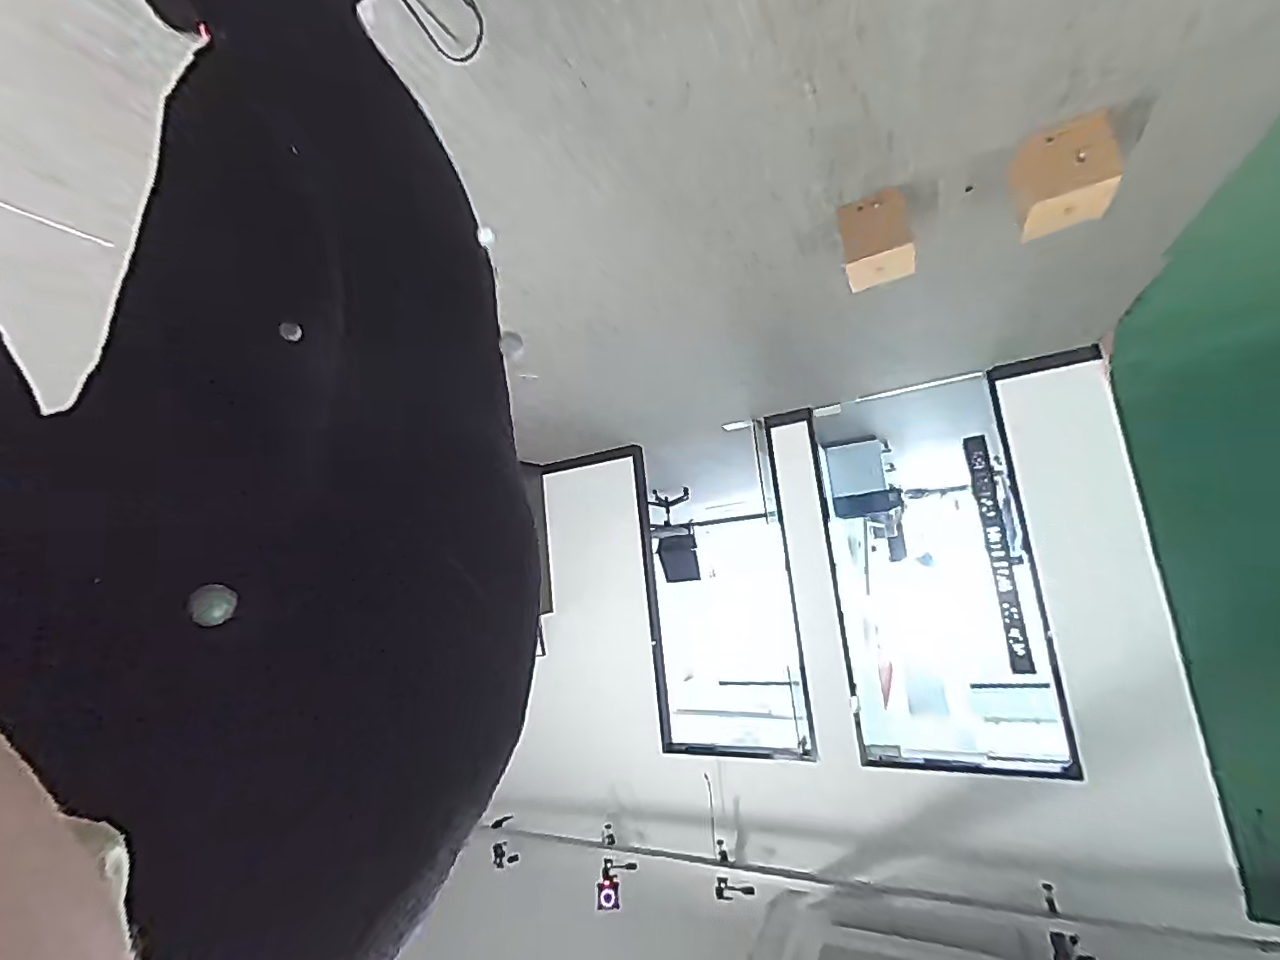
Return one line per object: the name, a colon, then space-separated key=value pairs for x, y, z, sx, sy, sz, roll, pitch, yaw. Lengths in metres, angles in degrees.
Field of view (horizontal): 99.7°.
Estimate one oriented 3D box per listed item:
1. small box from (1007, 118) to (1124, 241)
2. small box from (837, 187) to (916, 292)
small box: x=0.985 y=-0.705 z=1.269 sx=0.168 sy=0.176 sz=0.179 roll=-11 pitch=170 yaw=26
small box: x=0.632 y=-0.638 z=1.446 sx=0.168 sy=0.176 sz=0.179 roll=-11 pitch=169 yaw=26
